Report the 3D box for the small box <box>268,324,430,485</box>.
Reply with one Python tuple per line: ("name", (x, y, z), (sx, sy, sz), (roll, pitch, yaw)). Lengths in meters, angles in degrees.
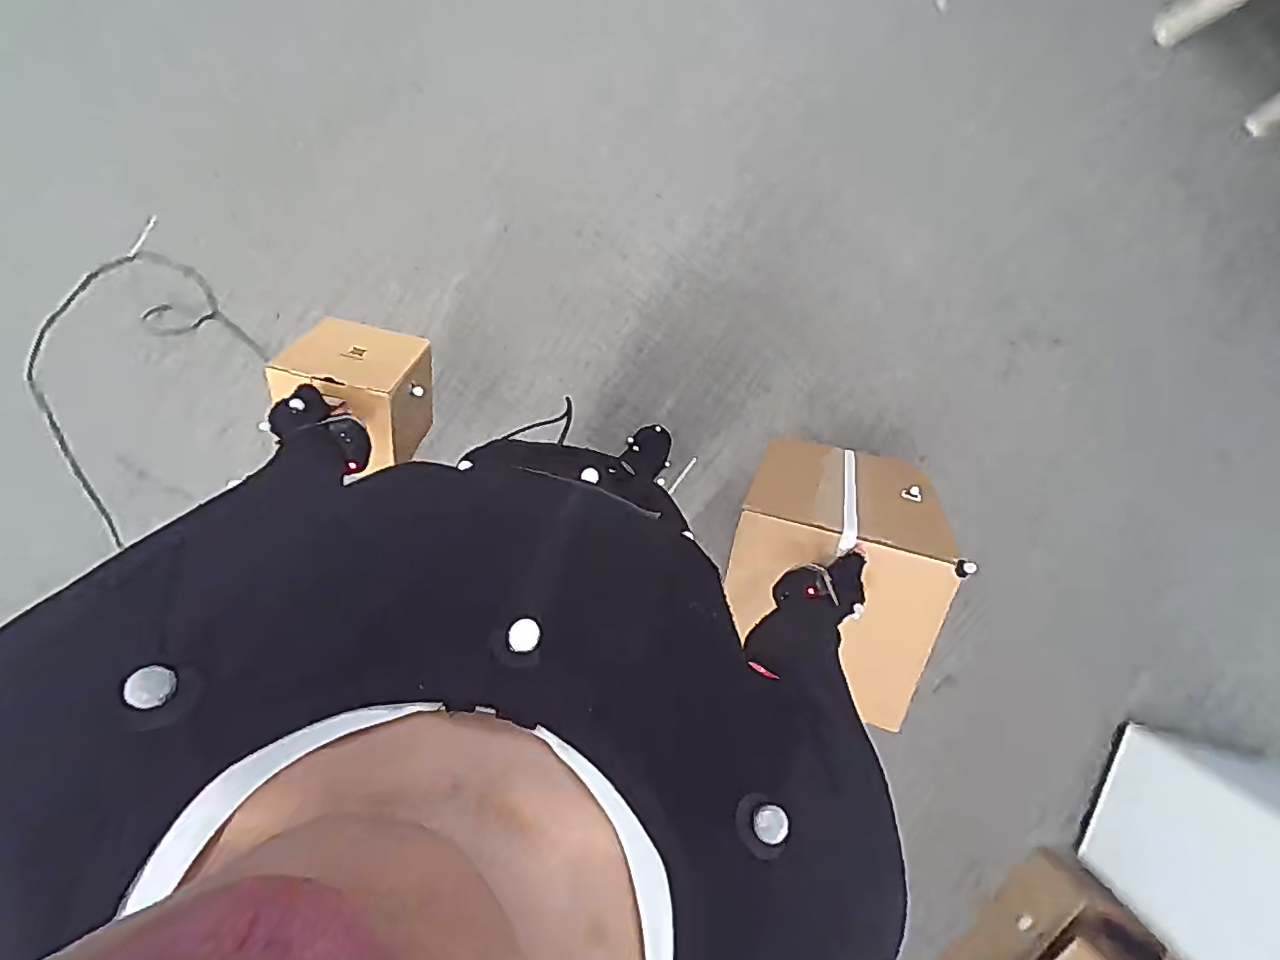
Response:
("small box", (-0.444, -0.119, 0.857), (0.168, 0.179, 0.176), (11, 129, -6))
